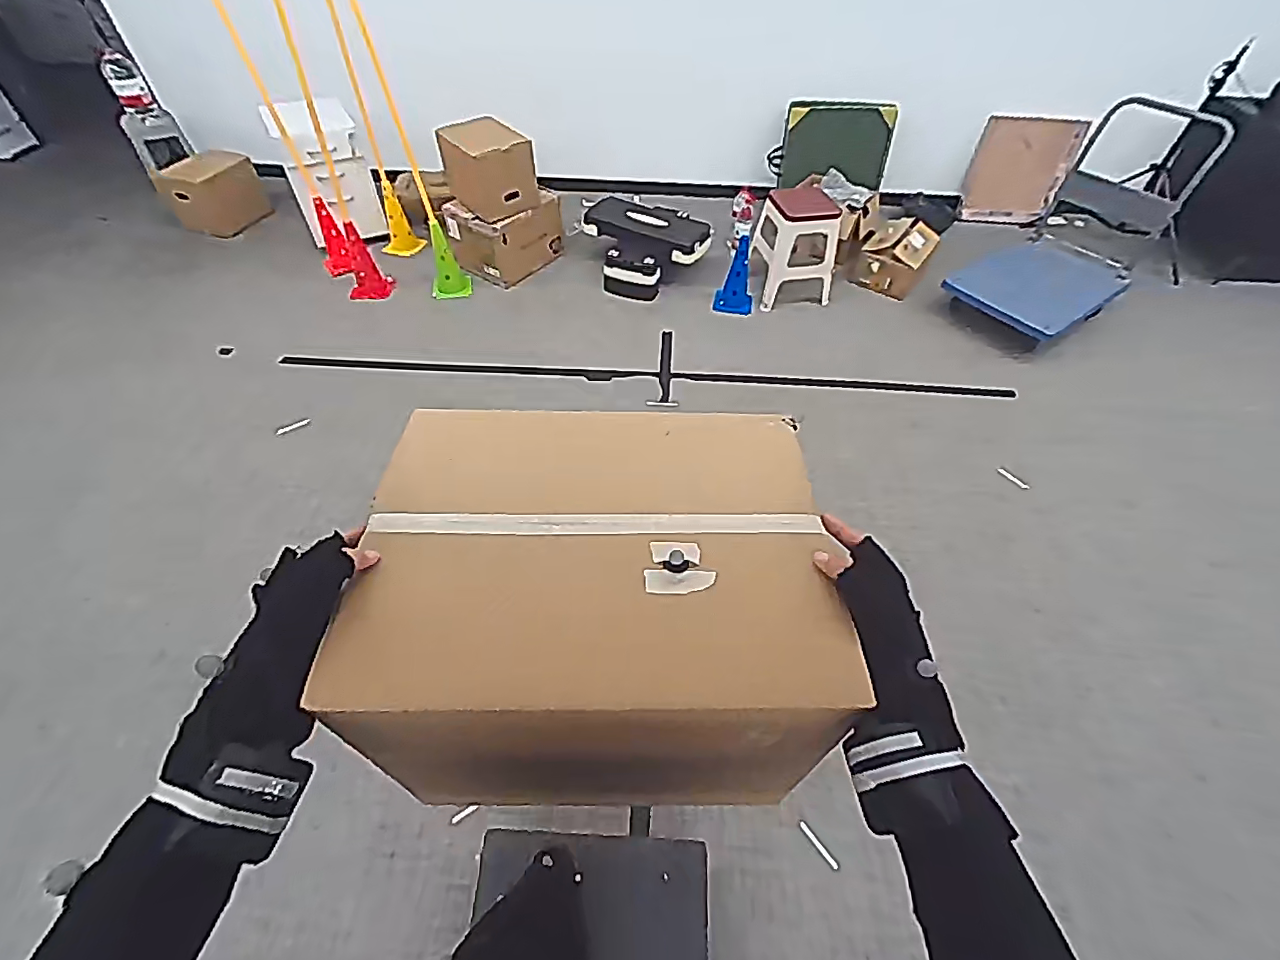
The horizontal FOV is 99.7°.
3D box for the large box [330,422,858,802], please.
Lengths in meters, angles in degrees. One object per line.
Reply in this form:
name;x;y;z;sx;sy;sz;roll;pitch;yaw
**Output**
large box;-0.040;0.150;0.609;0.408;0.320;0.320;1;48;-2
